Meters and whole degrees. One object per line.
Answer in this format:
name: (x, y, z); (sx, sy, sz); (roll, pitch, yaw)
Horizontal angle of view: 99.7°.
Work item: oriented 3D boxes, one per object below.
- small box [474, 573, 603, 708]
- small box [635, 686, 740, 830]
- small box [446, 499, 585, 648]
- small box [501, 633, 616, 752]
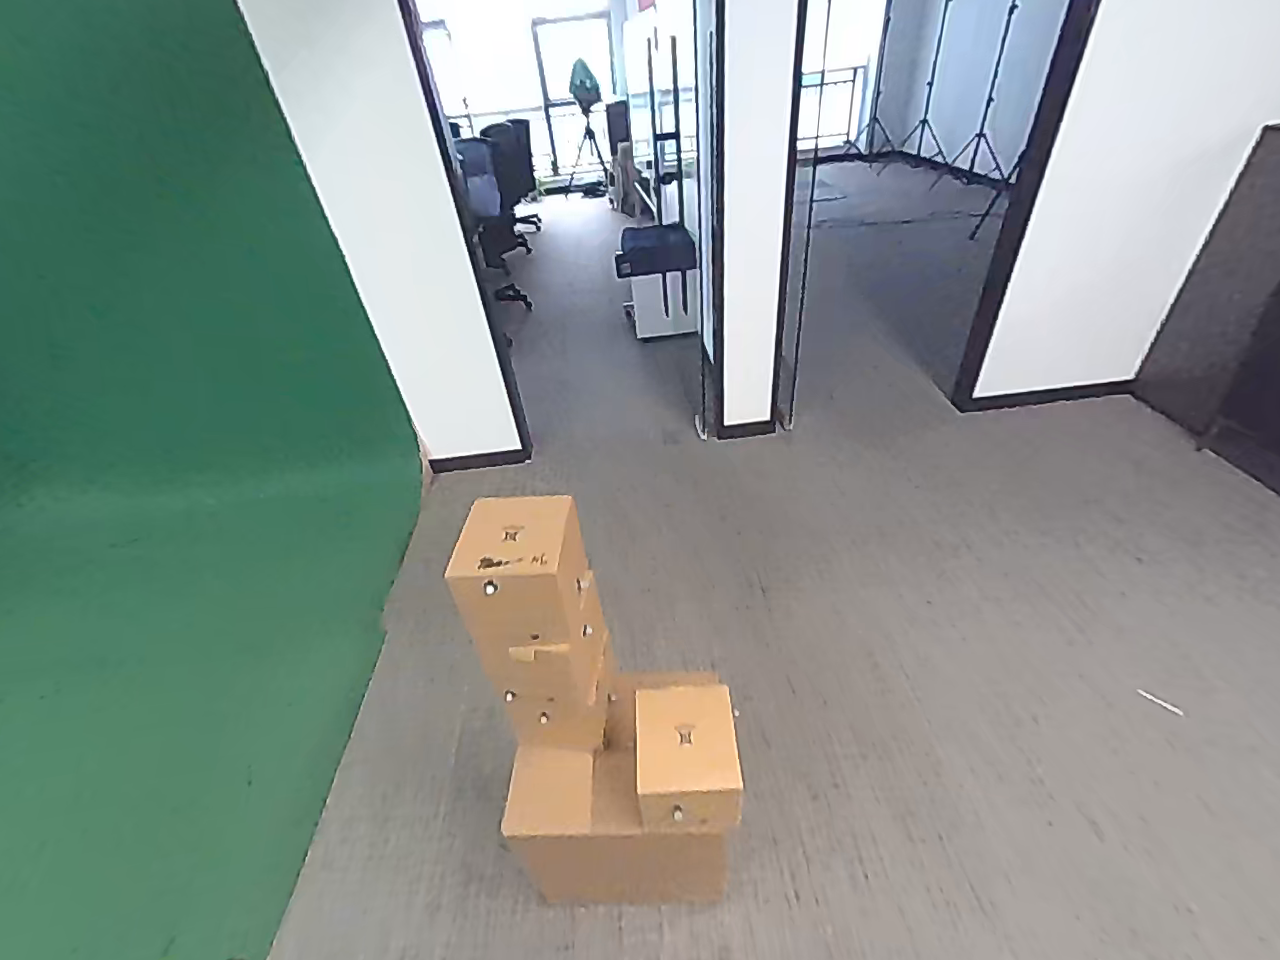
small box: (-0.169, 0.285, 0.975); (0.168, 0.176, 0.179); (1, 37, 10)
small box: (0.081, 0.489, 0.944); (0.168, 0.176, 0.179); (-4, 38, 2)
small box: (-0.188, 0.150, 0.881); (0.168, 0.176, 0.179); (-3, 36, 5)
small box: (-0.151, 0.417, 1.072); (0.179, 0.176, 0.168); (1, 38, 8)
